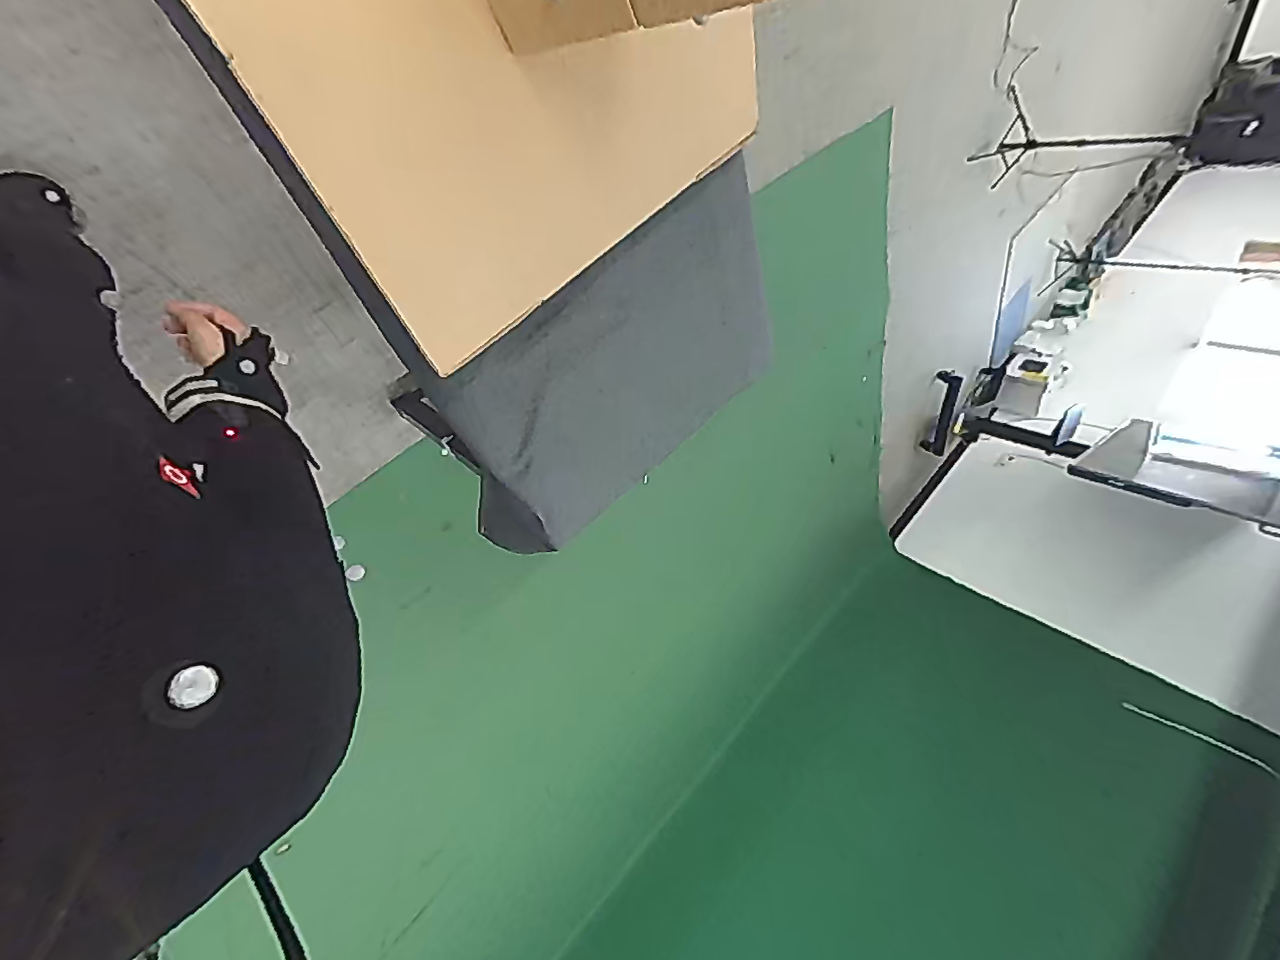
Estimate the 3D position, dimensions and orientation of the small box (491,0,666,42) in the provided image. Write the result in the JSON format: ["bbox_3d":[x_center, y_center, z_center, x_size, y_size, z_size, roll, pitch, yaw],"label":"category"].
[{"bbox_3d":[-0.043,-0.475,0.412,0.168,0.176,0.179,-52,140,-16],"label":"small box"}]
